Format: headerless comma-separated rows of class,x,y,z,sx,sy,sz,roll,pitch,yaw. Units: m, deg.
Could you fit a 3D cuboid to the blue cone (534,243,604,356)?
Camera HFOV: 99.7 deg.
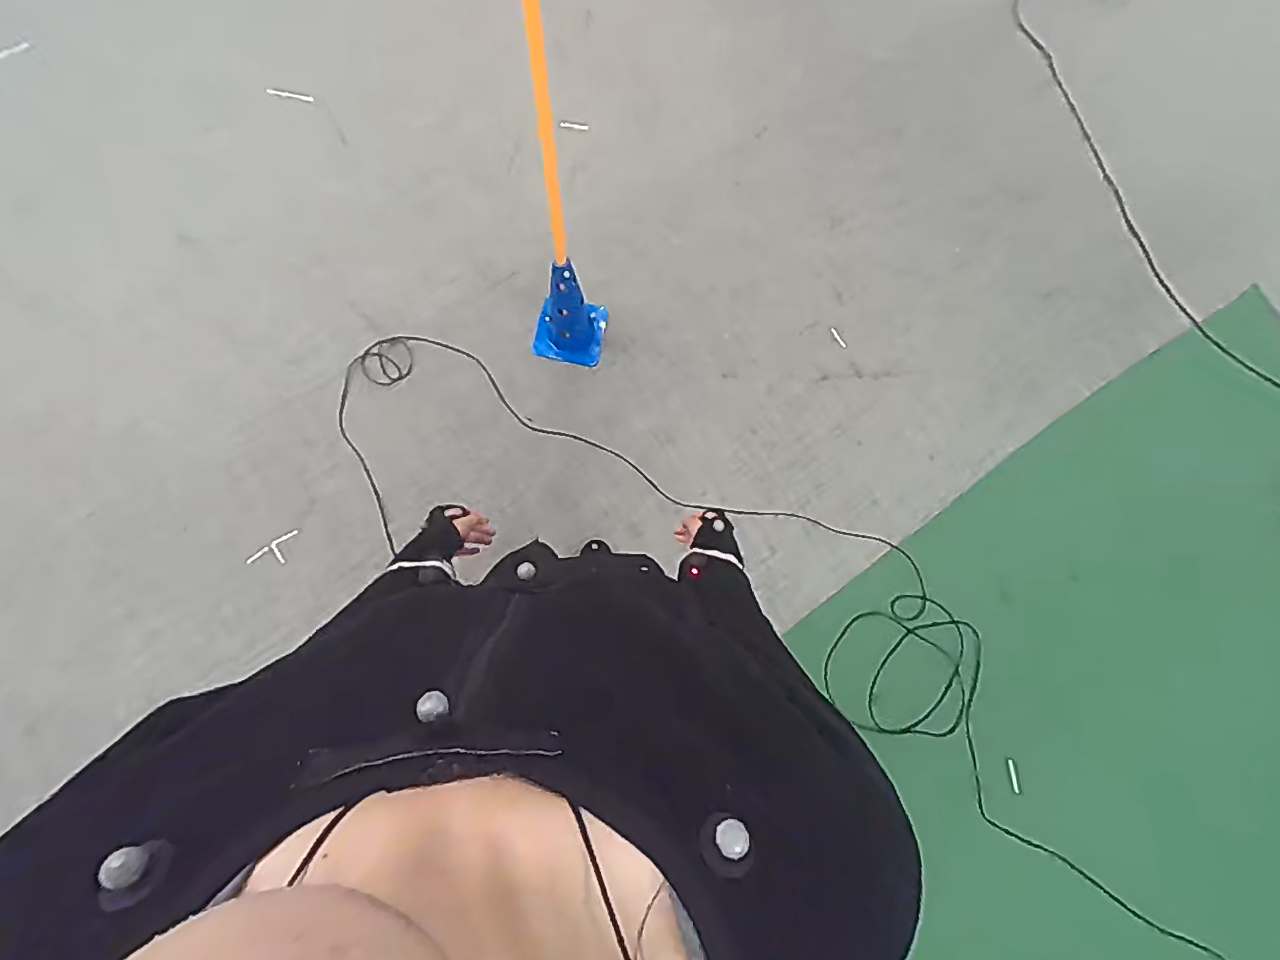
blue cone,-0.198,-0.498,1.438,0.192,0.380,0.193,10,77,-2
